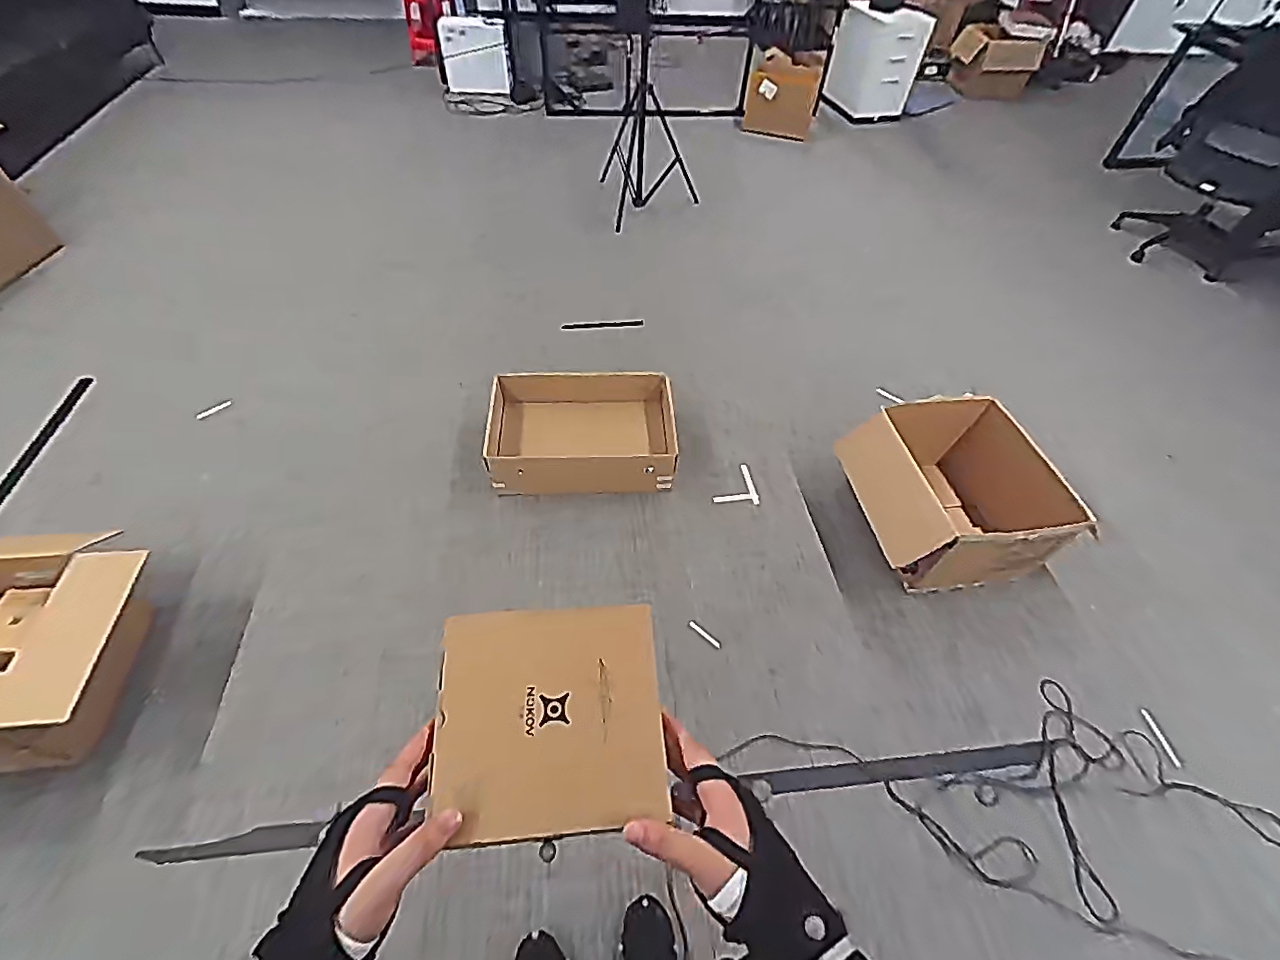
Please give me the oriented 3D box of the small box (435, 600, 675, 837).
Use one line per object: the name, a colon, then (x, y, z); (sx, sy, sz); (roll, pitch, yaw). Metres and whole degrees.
small box: (-0.071, 0.223, 0.497); (0.179, 0.176, 0.168); (-3, 58, -7)
